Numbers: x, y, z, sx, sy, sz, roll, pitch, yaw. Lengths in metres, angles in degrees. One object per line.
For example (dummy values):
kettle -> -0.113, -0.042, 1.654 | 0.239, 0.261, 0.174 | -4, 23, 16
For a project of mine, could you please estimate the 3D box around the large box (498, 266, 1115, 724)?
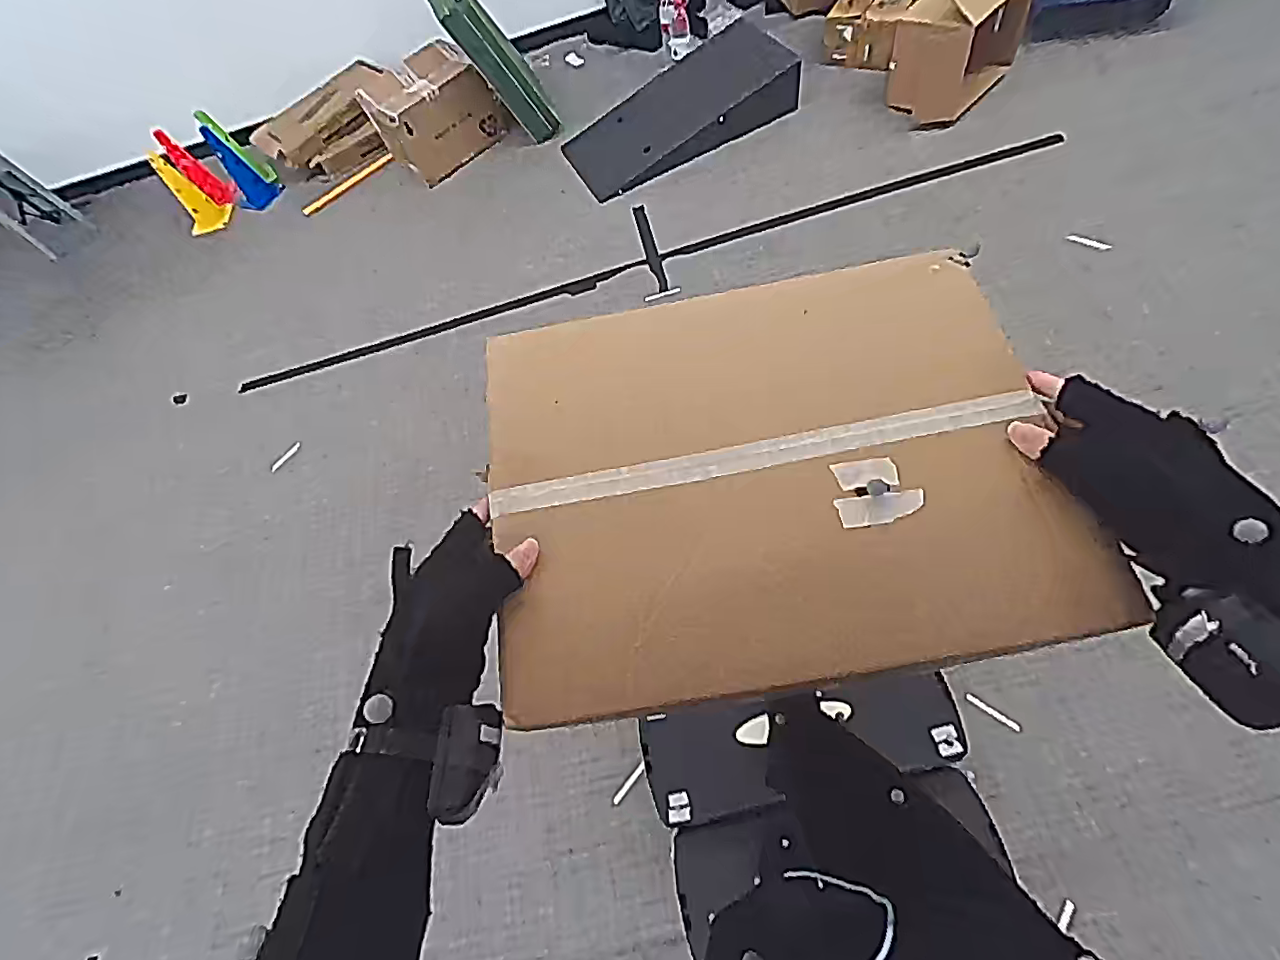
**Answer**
large box -> 0.105, 0.047, 0.550 | 0.408, 0.320, 0.320 | -11, 66, 2

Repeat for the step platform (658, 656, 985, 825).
step platform -> 0.383, 0.550, 1.235 | 0.684, 0.204, 0.286 | -16, 61, 2
